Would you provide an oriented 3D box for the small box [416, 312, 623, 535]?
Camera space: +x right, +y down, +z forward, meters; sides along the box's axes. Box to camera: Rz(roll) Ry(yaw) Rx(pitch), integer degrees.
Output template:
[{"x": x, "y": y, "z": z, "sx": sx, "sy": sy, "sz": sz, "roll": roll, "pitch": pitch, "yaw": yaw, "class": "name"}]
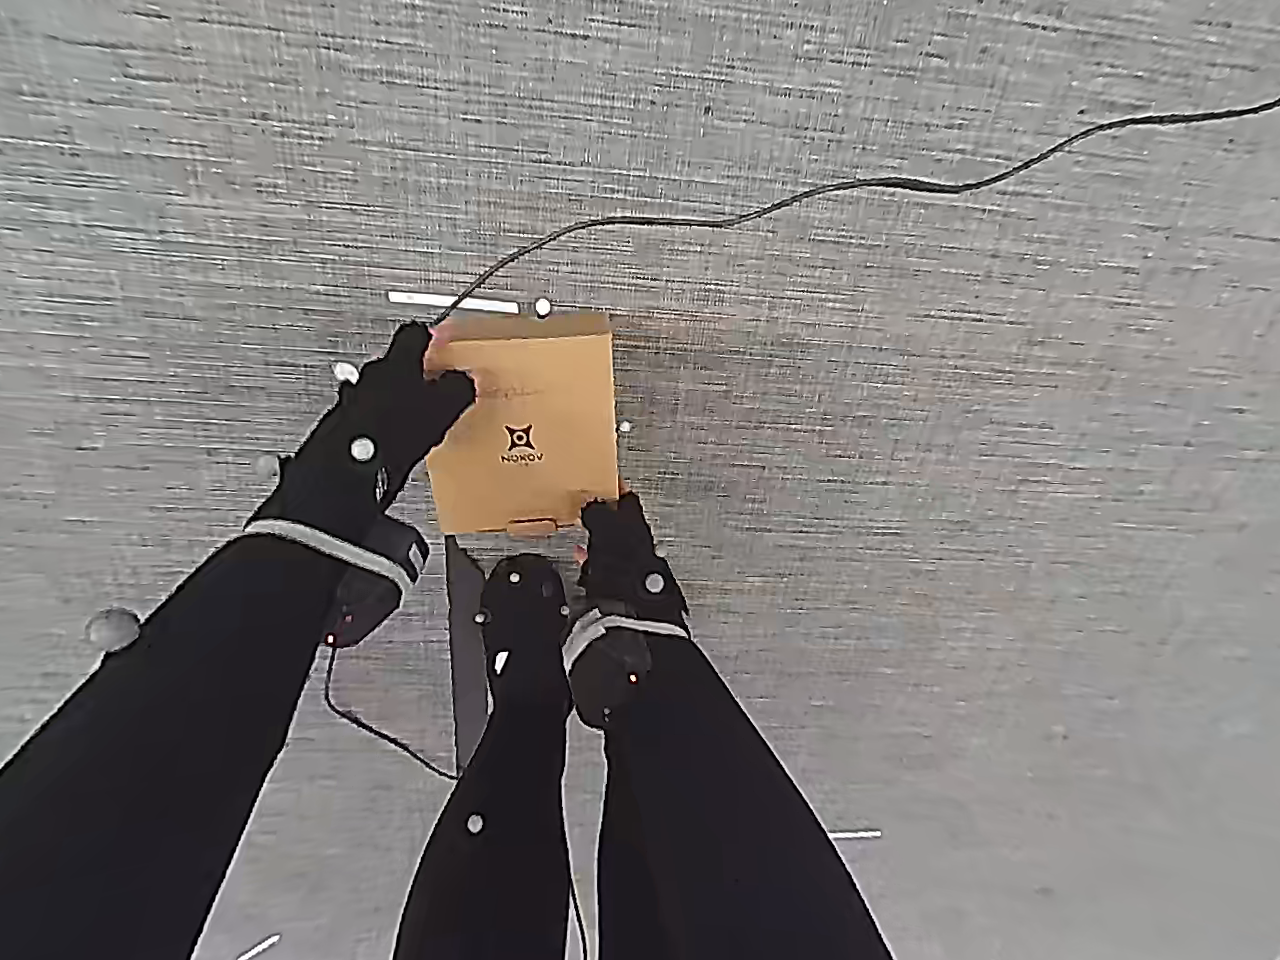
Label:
[{"x": -0.100, "y": -0.064, "z": 0.537, "sx": 0.168, "sy": 0.176, "sz": 0.179, "roll": -3, "pitch": 115, "yaw": -3, "class": "small box"}]
